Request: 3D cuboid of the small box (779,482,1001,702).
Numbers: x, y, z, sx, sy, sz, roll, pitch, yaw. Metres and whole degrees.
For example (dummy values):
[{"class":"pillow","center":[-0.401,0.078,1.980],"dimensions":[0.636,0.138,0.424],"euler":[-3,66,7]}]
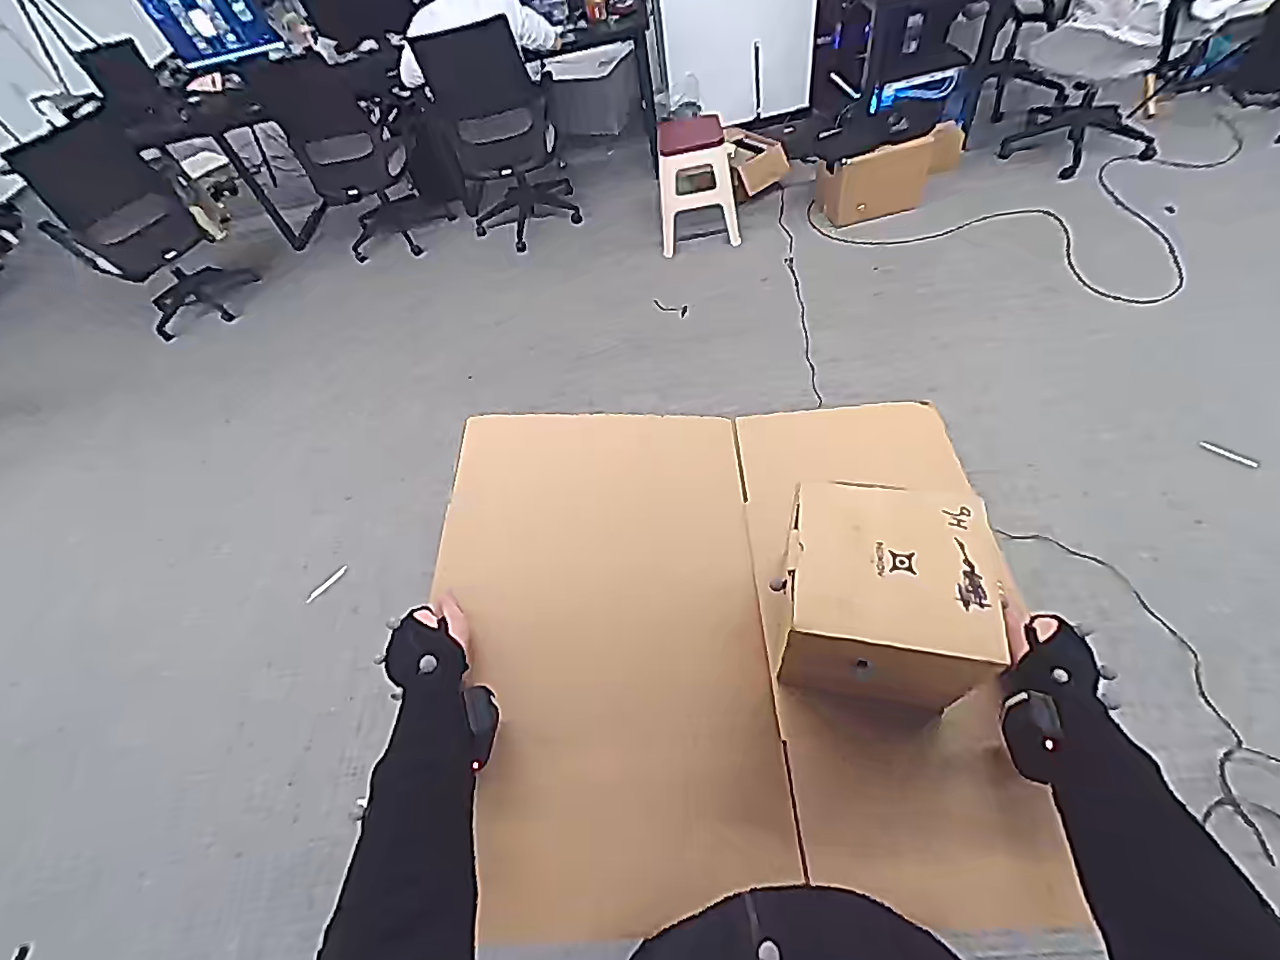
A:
[{"class":"small box","center":[0.245,0.122,0.573],"dimensions":[0.179,0.176,0.168],"euler":[6,57,14]}]
